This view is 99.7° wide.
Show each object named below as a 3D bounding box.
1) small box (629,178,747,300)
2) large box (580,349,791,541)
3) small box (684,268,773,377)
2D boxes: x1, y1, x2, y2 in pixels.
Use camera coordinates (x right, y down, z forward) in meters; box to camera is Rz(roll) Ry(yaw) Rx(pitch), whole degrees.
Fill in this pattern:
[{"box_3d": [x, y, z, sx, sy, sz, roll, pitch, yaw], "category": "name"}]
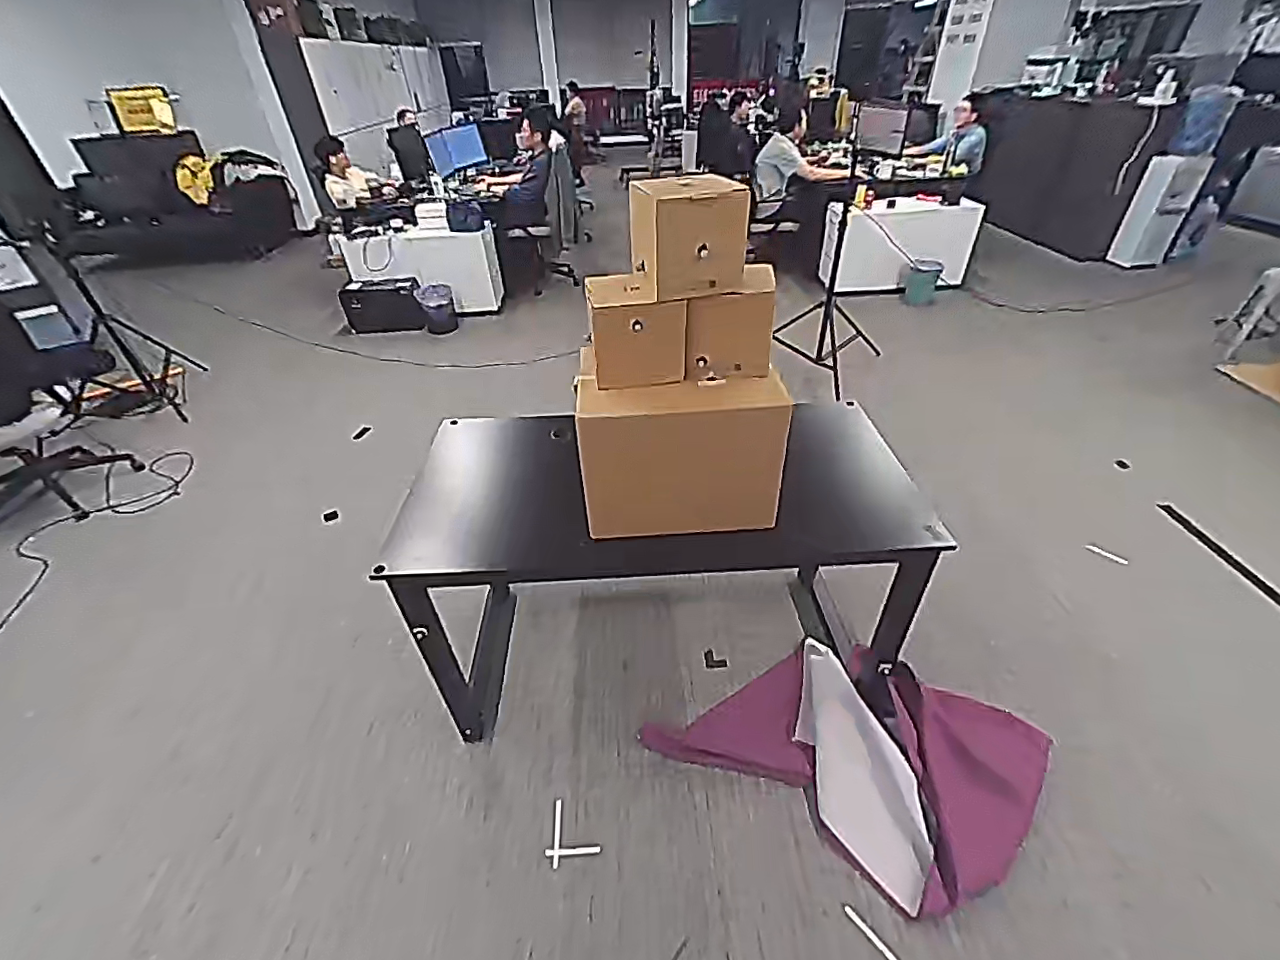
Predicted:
[{"box_3d": [0.083, -0.438, 0.991, 0.168, 0.176, 0.179, -11, 39, -11], "category": "small box"}, {"box_3d": [0.077, -0.087, 1.202, 0.408, 0.320, 0.320, -3, 38, -2], "category": "large box"}, {"box_3d": [0.178, -0.319, 1.098, 0.168, 0.176, 0.179, 3, 36, 8], "category": "small box"}]
